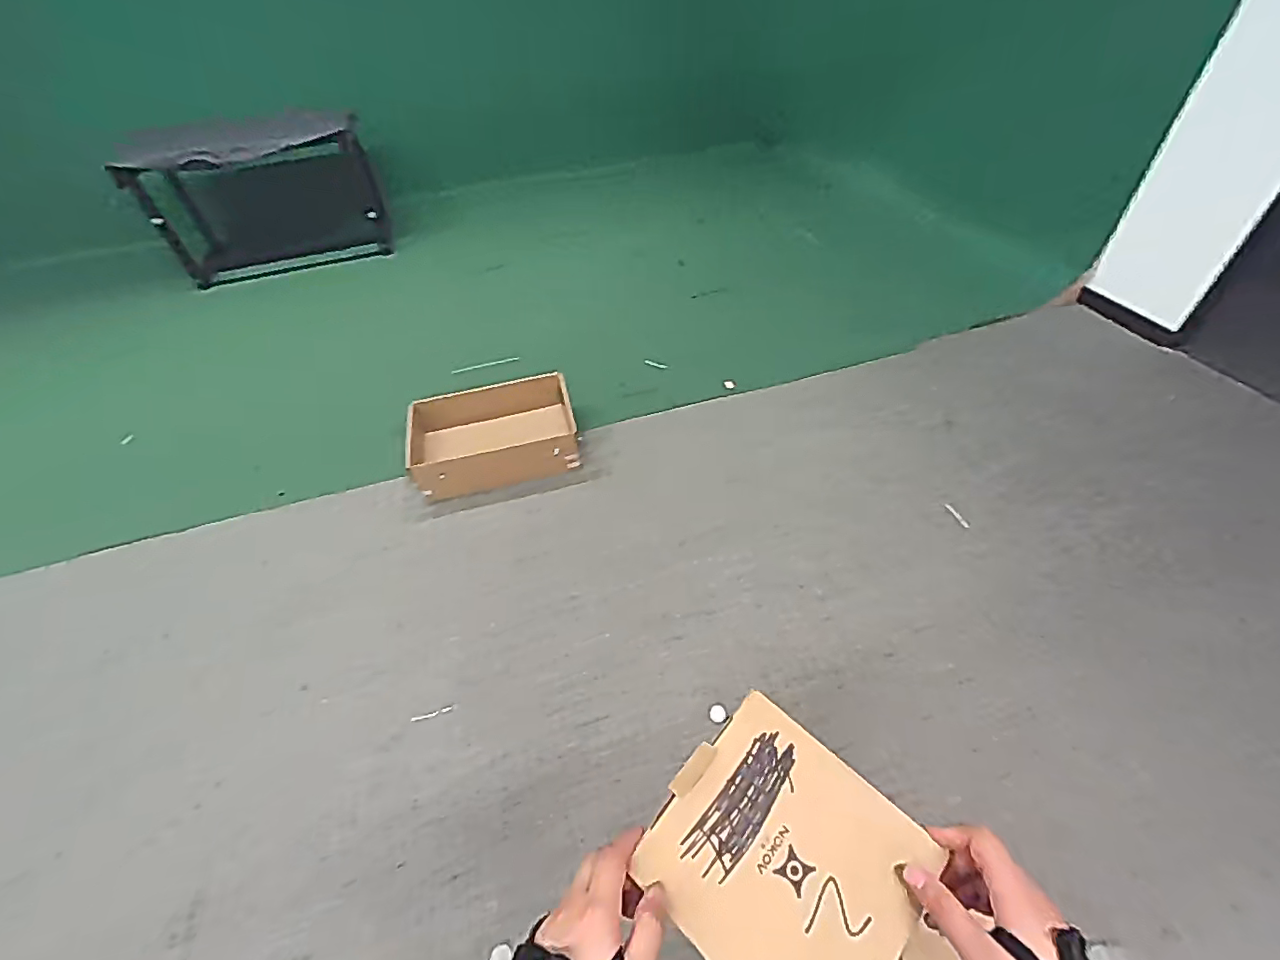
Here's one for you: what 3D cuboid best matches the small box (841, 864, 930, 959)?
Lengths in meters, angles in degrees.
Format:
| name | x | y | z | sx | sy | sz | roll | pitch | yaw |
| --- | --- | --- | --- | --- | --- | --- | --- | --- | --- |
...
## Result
| name | x | y | z | sx | sy | sz | roll | pitch | yaw |
| --- | --- | --- | --- | --- | --- | --- | --- | --- | --- |
| small box | 0.515 | 0.885 | 1.045 | 0.168 | 0.176 | 0.179 | -14 | 46 | -8 |

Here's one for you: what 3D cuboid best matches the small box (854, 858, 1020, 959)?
| name | x | y | z | sx | sy | sz | roll | pitch | yaw |
| --- | --- | --- | --- | --- | --- | --- | --- | --- | --- |
| small box | 0.496 | 0.779 | 0.922 | 0.179 | 0.176 | 0.168 | -15 | 46 | -7 |
